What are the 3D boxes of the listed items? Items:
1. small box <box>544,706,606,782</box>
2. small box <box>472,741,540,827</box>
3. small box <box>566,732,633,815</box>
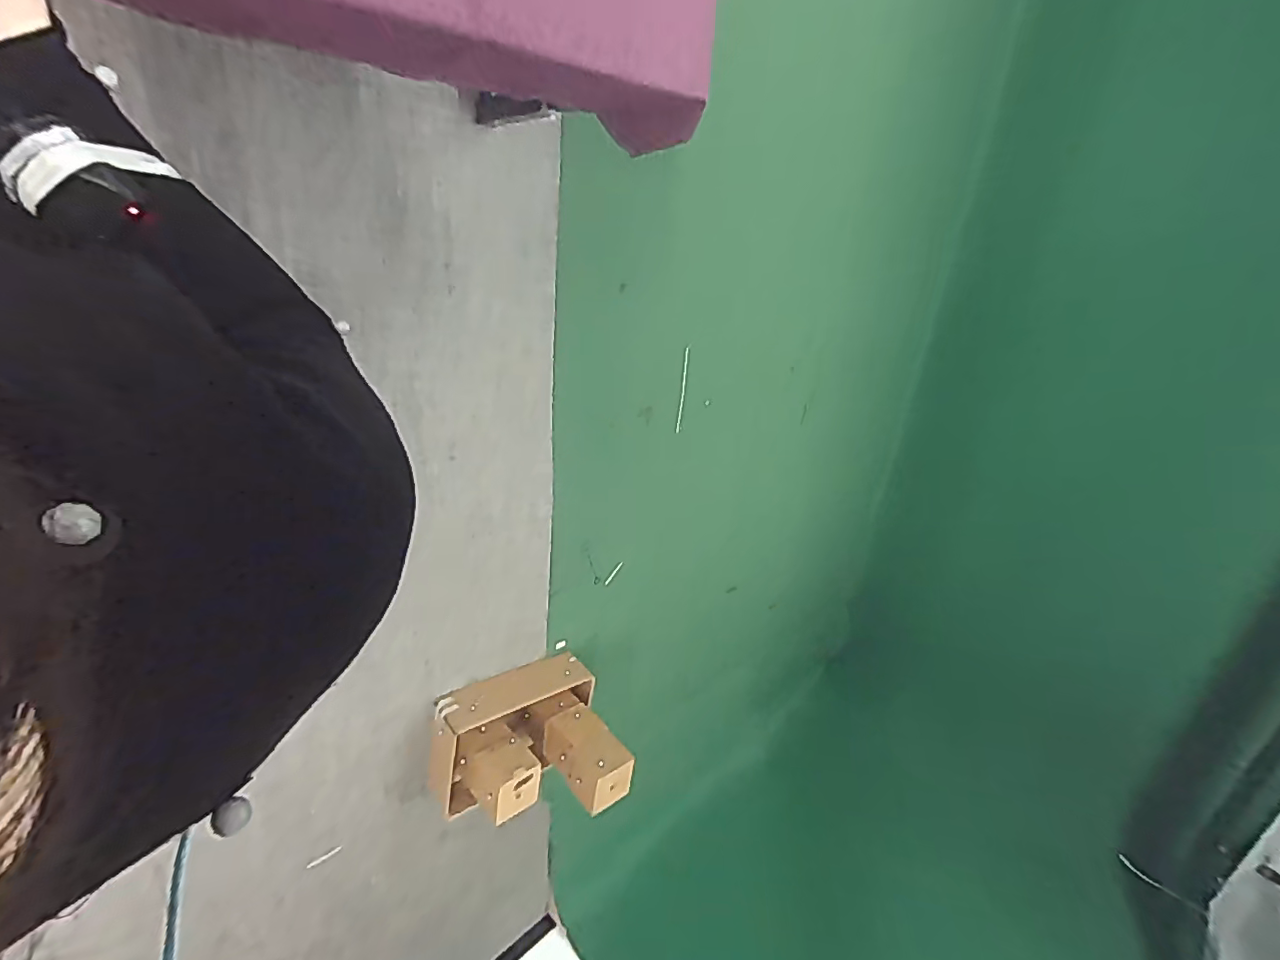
[{"bbox_3d":[-0.256,1.021,2.104,0.168,0.176,0.179,-7,112,-44],"label":"small box"},{"bbox_3d":[-0.469,1.046,1.885,0.168,0.176,0.179,-9,115,-45],"label":"small box"},{"bbox_3d":[-0.153,1.070,1.984,0.179,0.176,0.168,-8,114,-43],"label":"small box"}]
